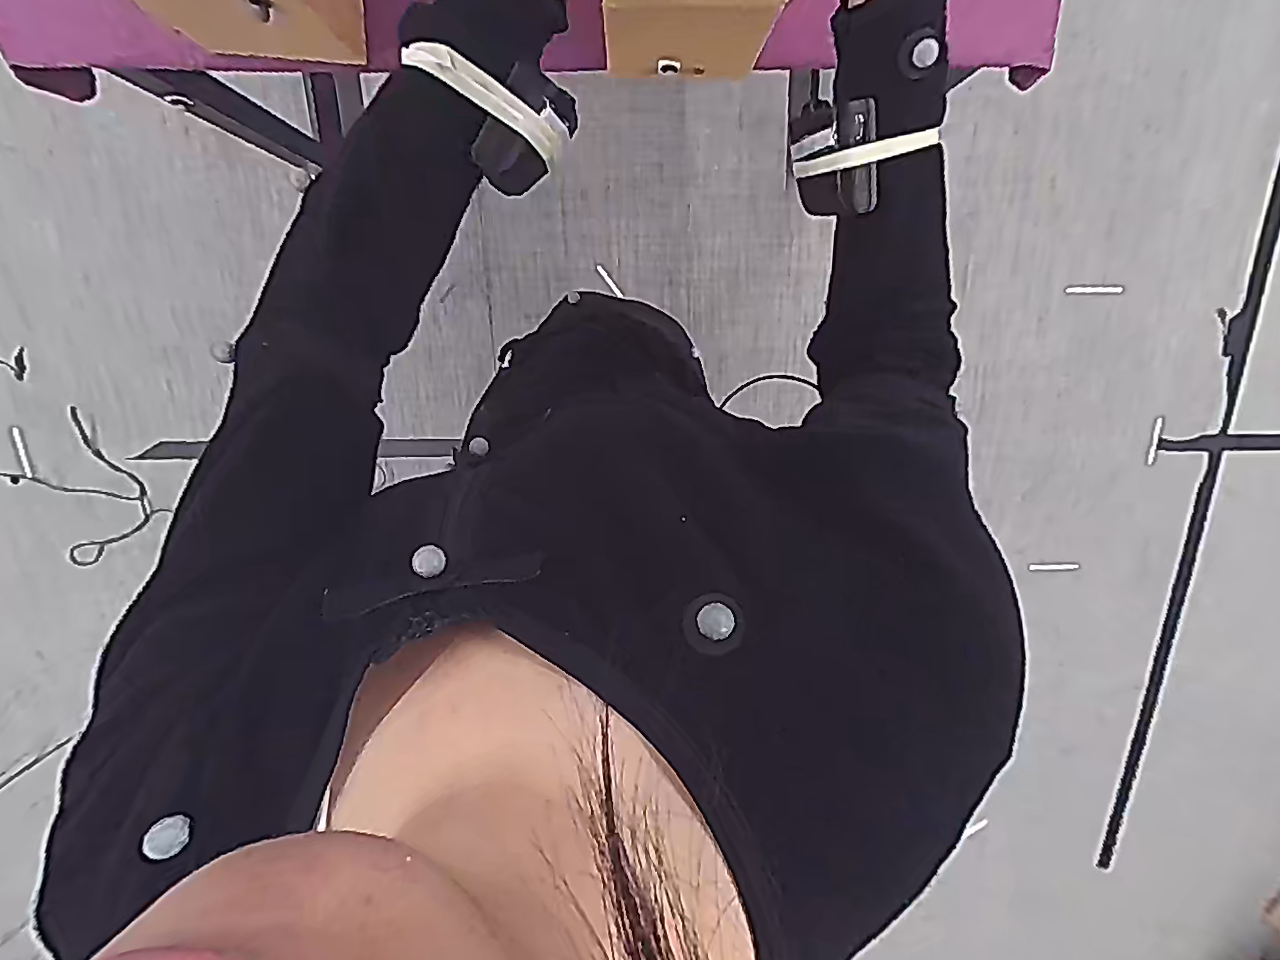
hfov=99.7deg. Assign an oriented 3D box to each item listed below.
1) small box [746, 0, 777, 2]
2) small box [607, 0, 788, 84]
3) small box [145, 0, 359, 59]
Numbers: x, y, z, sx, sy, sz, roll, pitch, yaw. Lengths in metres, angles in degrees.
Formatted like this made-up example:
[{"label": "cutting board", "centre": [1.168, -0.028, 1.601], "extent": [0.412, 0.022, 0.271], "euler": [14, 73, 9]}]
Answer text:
[{"label": "small box", "centre": [0.053, -0.478, 0.378], "extent": [0.168, 0.176, 0.179], "euler": [-1, 106, 0]}, {"label": "small box", "centre": [0.050, -0.528, 0.533], "extent": [0.168, 0.176, 0.179], "euler": [0, 108, 0]}, {"label": "small box", "centre": [-0.387, -0.535, 0.512], "extent": [0.179, 0.176, 0.168], "euler": [3, 105, -3]}]
